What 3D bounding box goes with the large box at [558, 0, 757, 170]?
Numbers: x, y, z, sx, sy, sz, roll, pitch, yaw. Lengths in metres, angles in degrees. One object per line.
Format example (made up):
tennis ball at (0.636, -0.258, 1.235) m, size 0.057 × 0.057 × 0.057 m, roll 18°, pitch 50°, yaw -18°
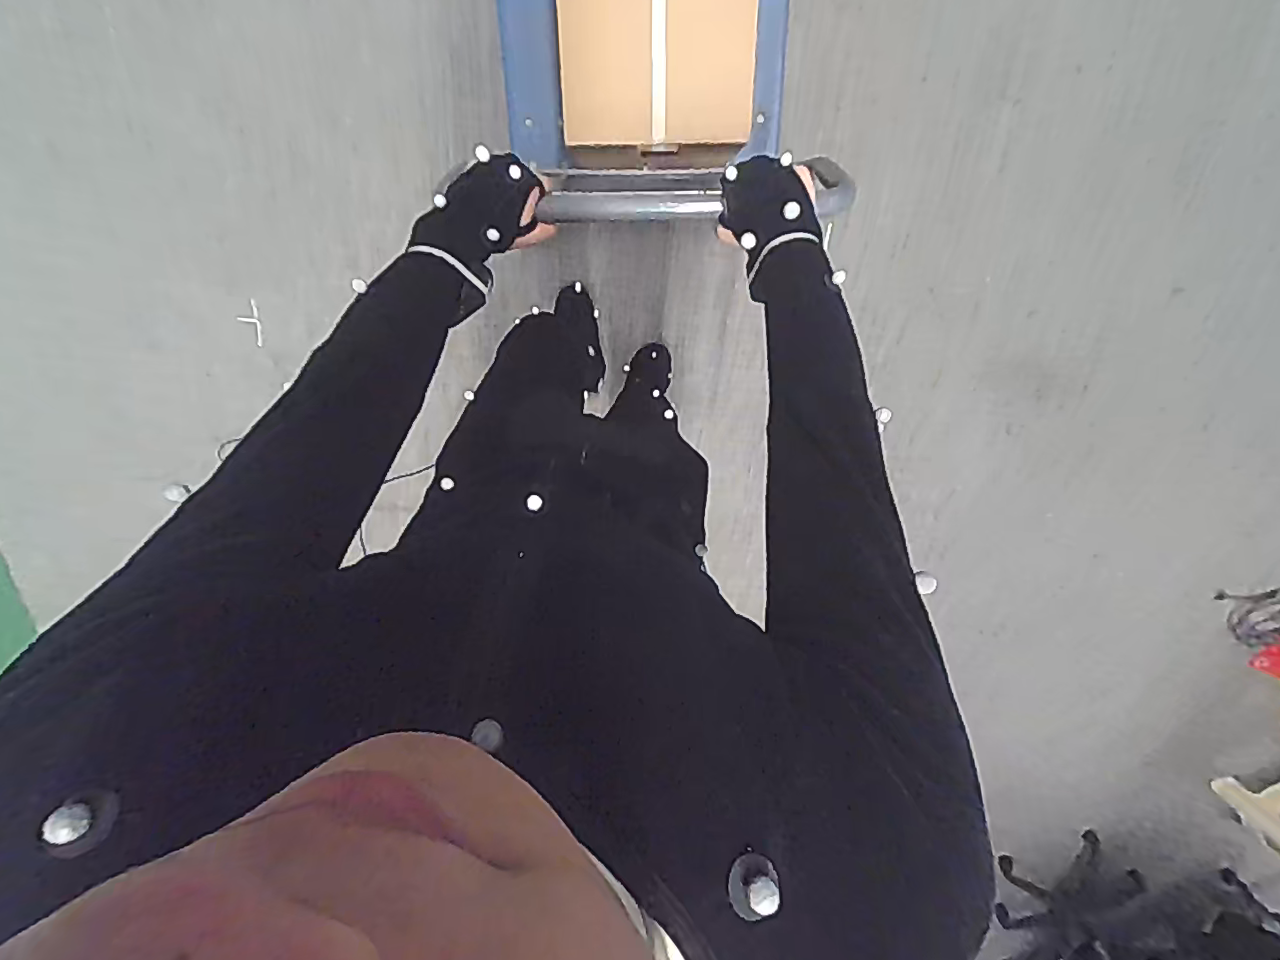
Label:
large box at (0.030, -0.807, 0.966) m, size 0.320 × 0.320 × 0.408 m, roll -1°, pitch 113°, yaw 0°
